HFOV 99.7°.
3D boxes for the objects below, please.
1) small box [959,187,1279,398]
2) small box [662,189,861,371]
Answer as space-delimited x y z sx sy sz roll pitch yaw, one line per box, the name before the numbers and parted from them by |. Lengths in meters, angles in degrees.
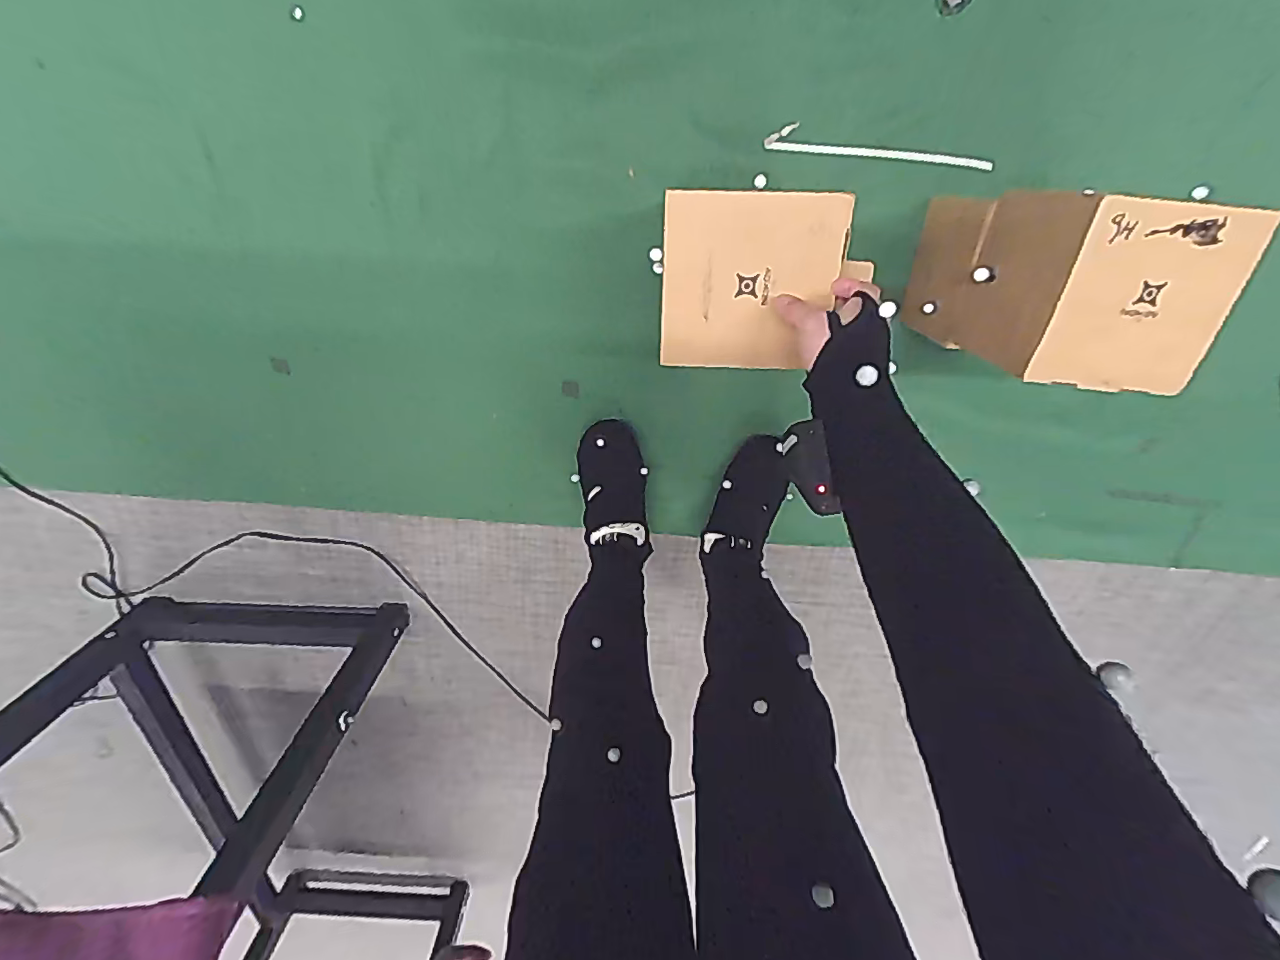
small box | 0.484 -0.208 0.586 0.168 0.176 0.179 5 120 -2
small box | 0.115 -0.225 0.597 0.179 0.176 0.168 2 116 2
